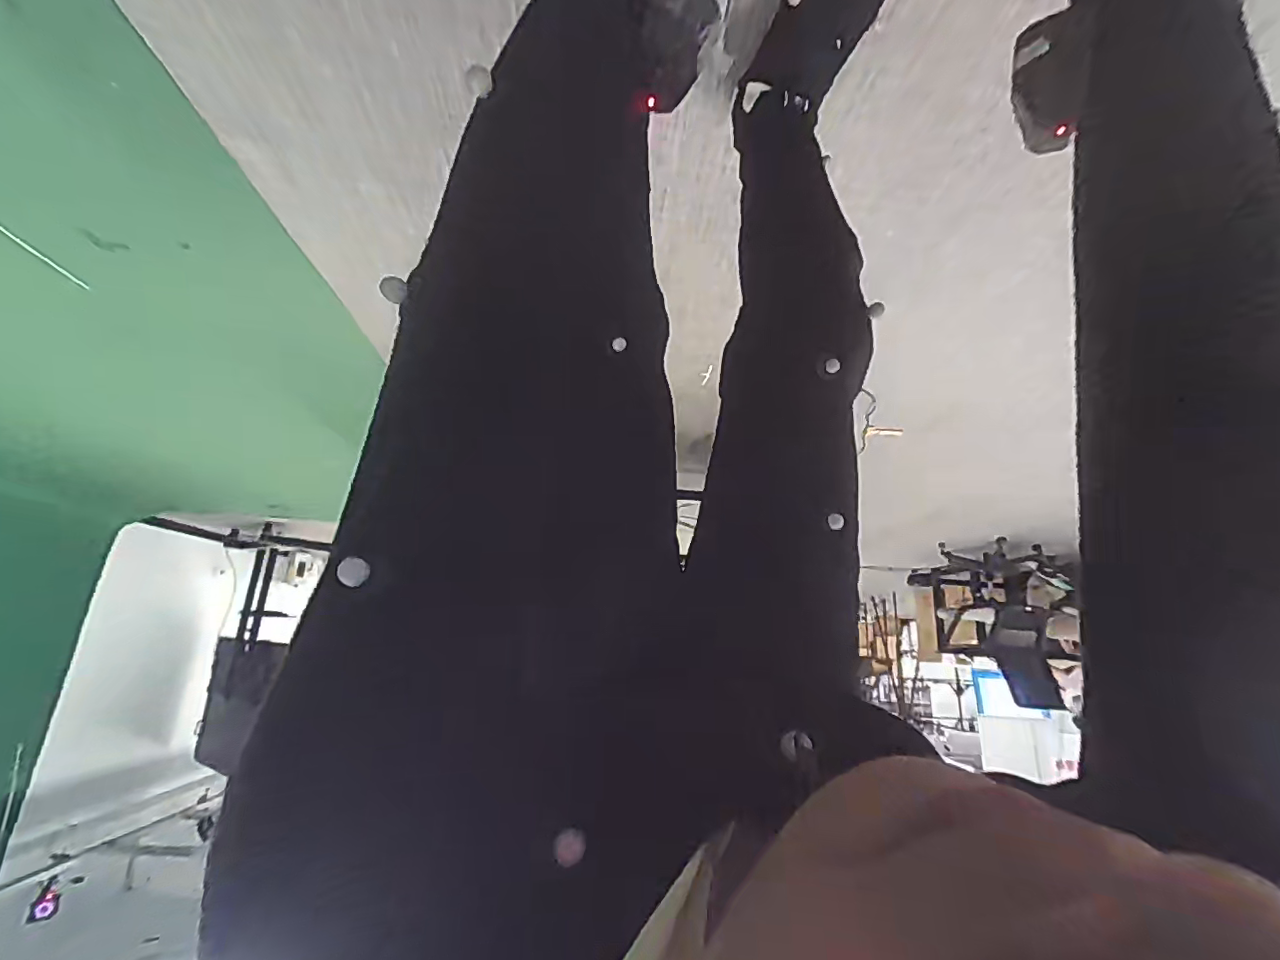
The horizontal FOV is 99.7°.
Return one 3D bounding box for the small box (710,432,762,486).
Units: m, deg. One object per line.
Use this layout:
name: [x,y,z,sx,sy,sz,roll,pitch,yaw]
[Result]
small box: [0.377,-0.083,2.135,0.179,0.176,0.168,5,164,-2]
